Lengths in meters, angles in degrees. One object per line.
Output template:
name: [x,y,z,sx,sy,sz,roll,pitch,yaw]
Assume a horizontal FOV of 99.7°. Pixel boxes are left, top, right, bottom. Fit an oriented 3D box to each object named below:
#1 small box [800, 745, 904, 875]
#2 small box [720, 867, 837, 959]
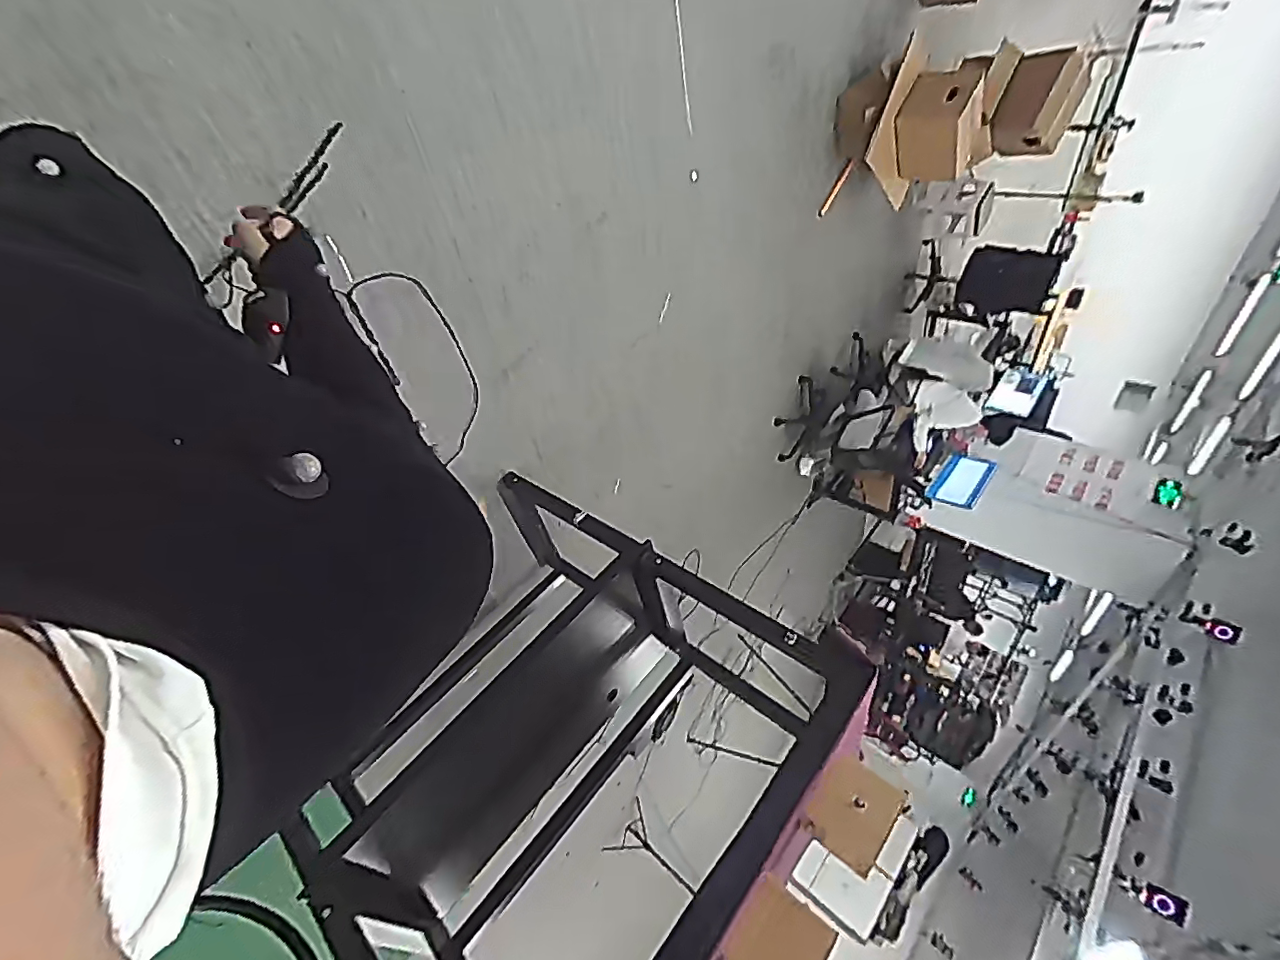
small box: [0.487,0.764,1.261,0.179,0.176,0.168,-45,142,-26]
small box: [0.285,0.958,1.128,0.179,0.176,0.168,-43,141,-27]
